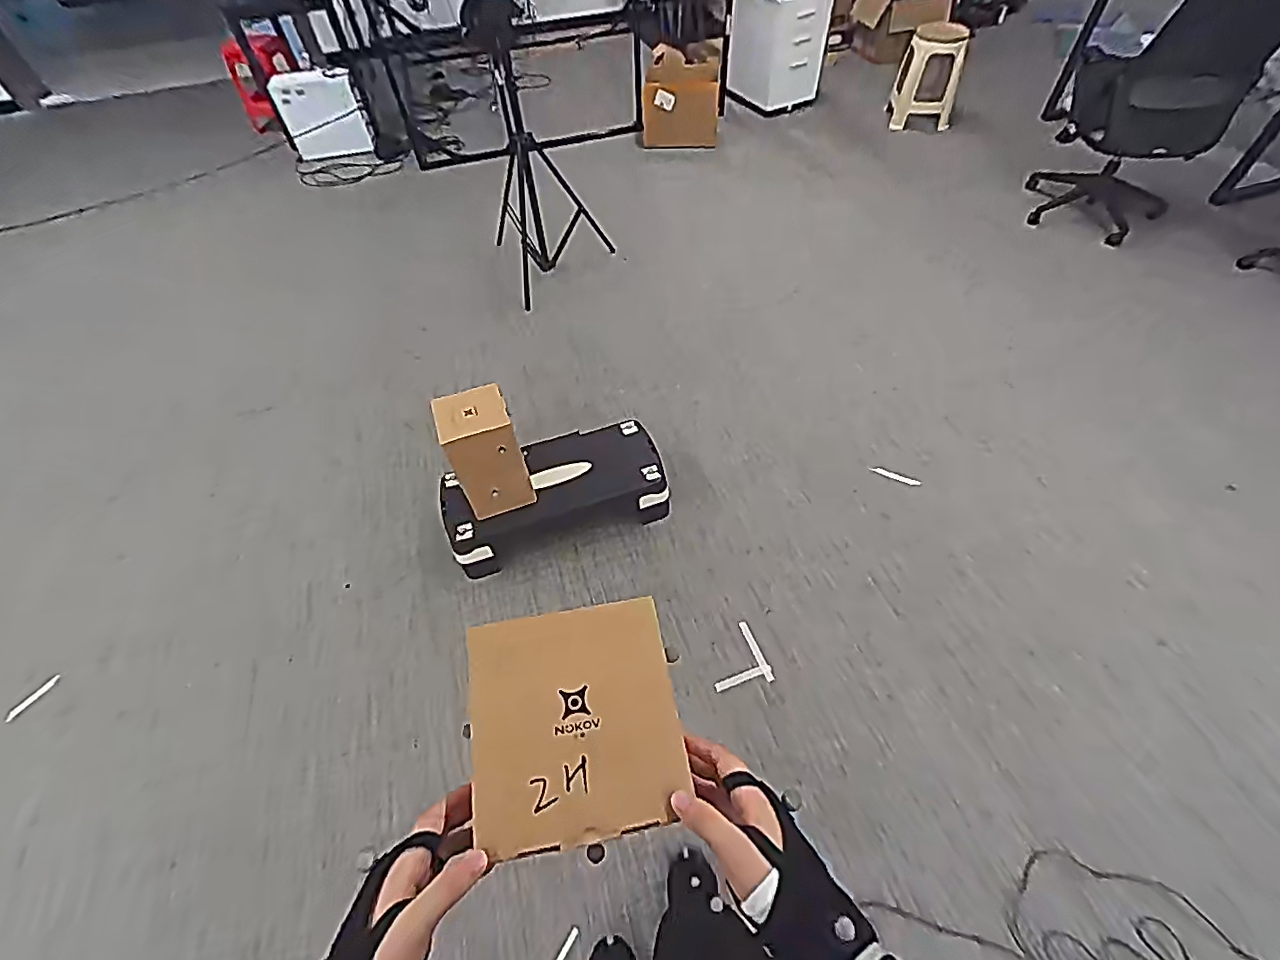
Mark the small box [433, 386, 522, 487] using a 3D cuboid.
[{"bbox_3d":[-0.416,-0.111,1.409,0.179,0.176,0.168,-20,54,-11],"label":"small box"}]

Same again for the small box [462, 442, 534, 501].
[{"bbox_3d":[-0.409,-0.014,1.541,0.179,0.176,0.168,-19,55,-11],"label":"small box"}]

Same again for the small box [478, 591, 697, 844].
[{"bbox_3d":[-0.054,0.228,0.514,0.168,0.176,0.179,-8,57,-7],"label":"small box"}]
